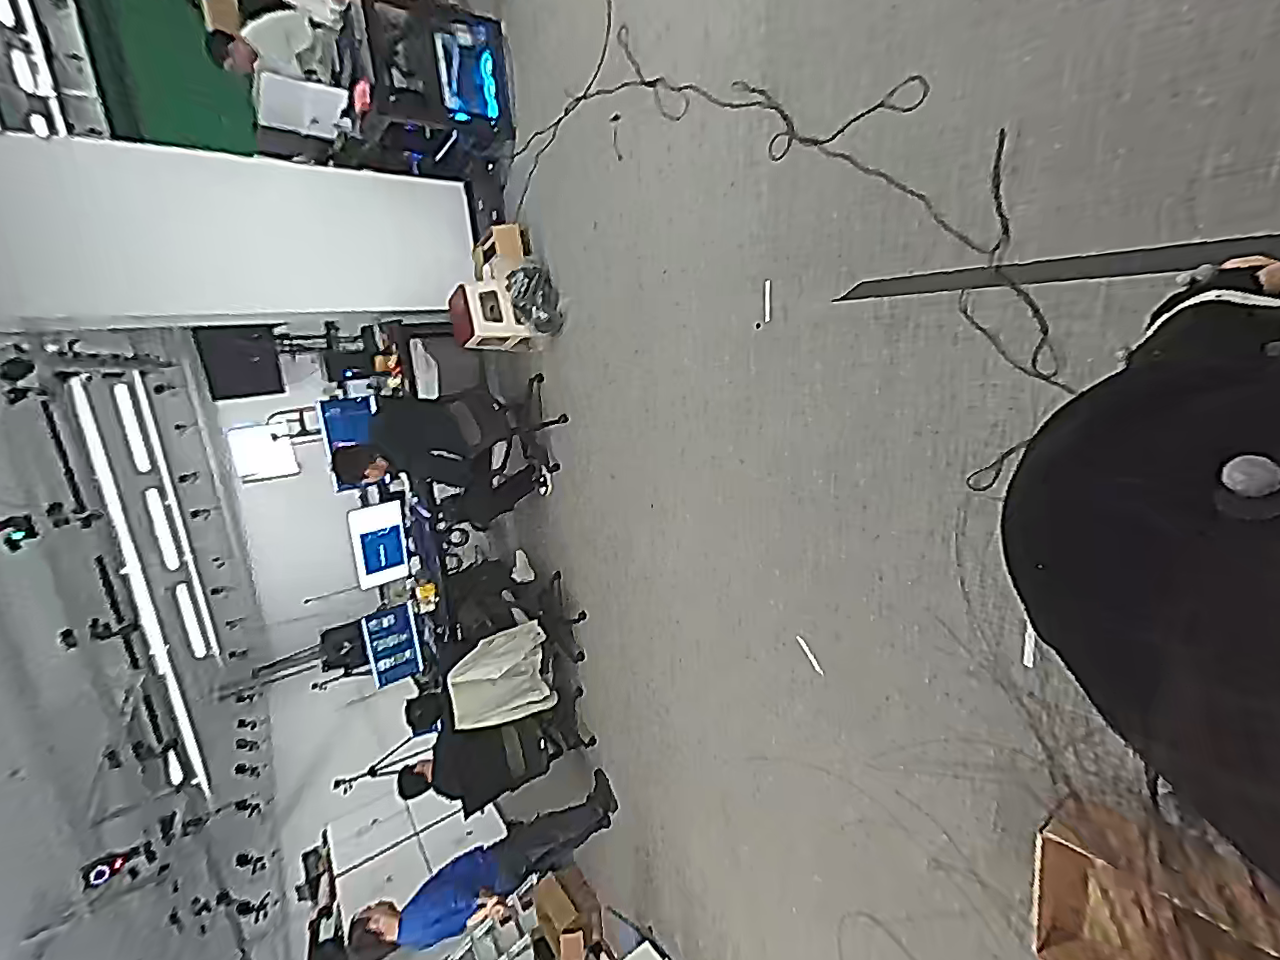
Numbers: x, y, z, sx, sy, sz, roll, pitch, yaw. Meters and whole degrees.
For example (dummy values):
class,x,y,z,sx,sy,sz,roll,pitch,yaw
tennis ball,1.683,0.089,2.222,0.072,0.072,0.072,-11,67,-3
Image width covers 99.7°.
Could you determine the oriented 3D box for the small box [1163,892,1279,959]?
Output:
class,x,y,z,sx,sy,sz,roll,pitch,yaw
small box,1.232,1.034,1.135,0.168,0.176,0.179,2,103,55
